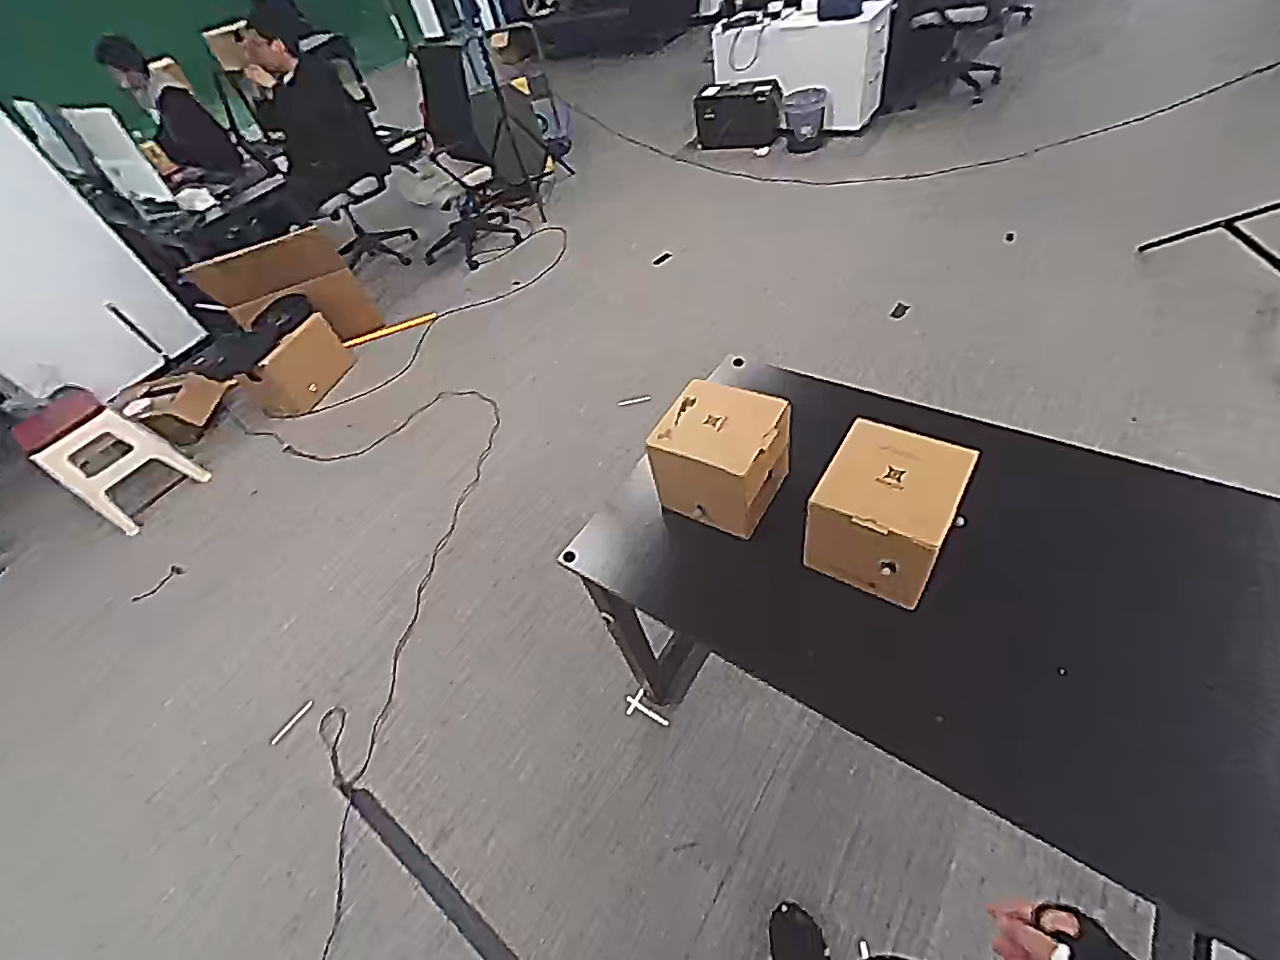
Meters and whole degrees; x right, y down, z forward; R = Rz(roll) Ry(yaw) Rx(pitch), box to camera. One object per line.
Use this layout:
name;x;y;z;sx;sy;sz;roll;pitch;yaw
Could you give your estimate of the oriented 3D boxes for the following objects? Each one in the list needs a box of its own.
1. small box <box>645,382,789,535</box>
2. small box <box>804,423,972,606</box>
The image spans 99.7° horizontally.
small box;0.133;-0.032;0.908;0.179;0.176;0.168;22;58;26
small box;0.350;0.053;0.788;0.168;0.176;0.179;23;58;27
